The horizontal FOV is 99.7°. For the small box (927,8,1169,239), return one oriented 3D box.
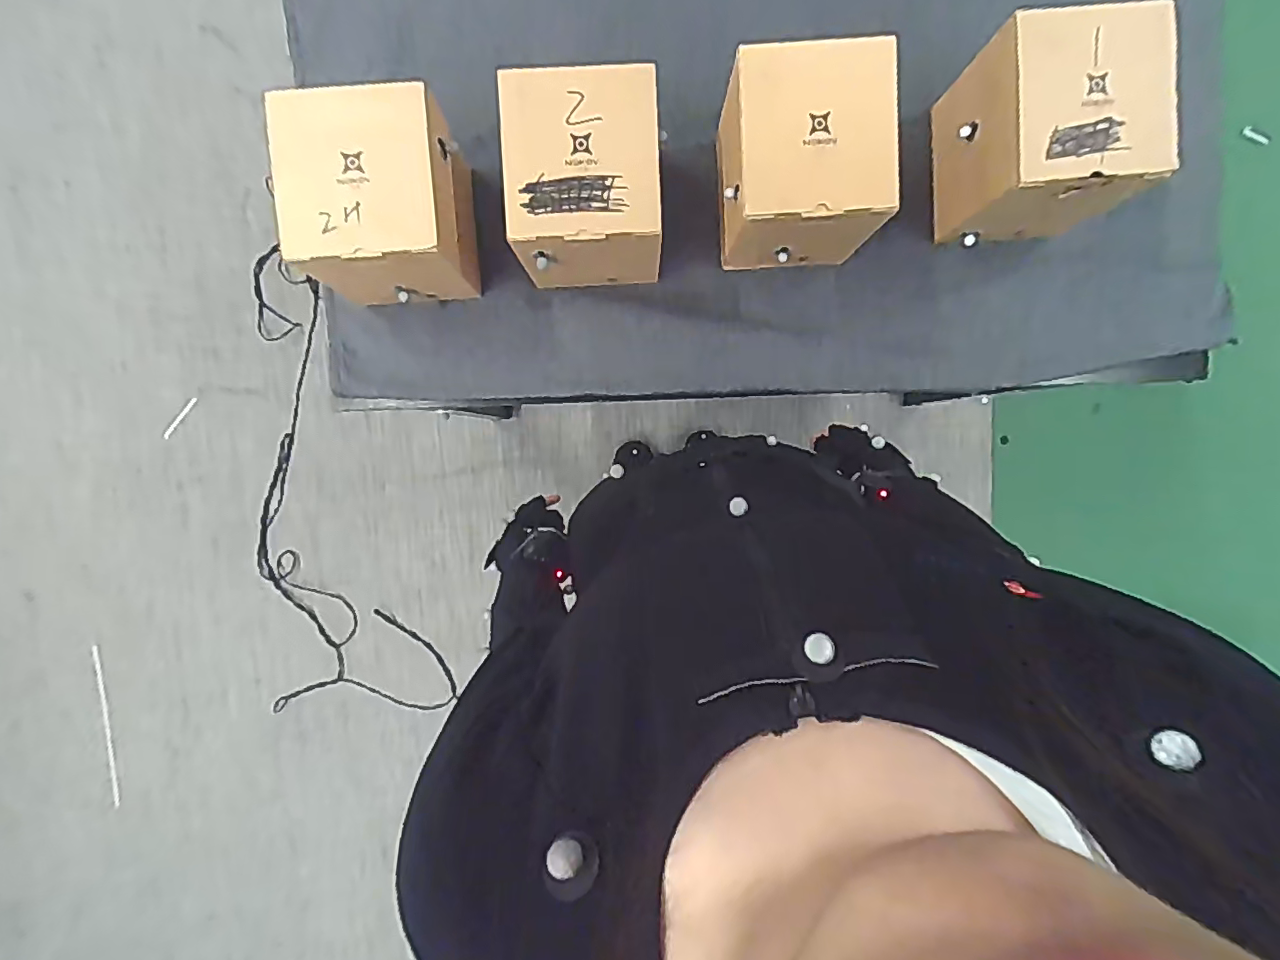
[{"bbox_3d":[0.466,-0.401,0.643,0.168,0.176,0.179,-4,93,0],"label":"small box"}]

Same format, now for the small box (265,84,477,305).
[{"bbox_3d":[-0.301,-0.321,0.639,0.168,0.176,0.179,-4,93,-1],"label":"small box"}]

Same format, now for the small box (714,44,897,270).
[{"bbox_3d":[0.185,-0.370,0.646,0.168,0.176,0.179,-4,94,-1],"label":"small box"}]
